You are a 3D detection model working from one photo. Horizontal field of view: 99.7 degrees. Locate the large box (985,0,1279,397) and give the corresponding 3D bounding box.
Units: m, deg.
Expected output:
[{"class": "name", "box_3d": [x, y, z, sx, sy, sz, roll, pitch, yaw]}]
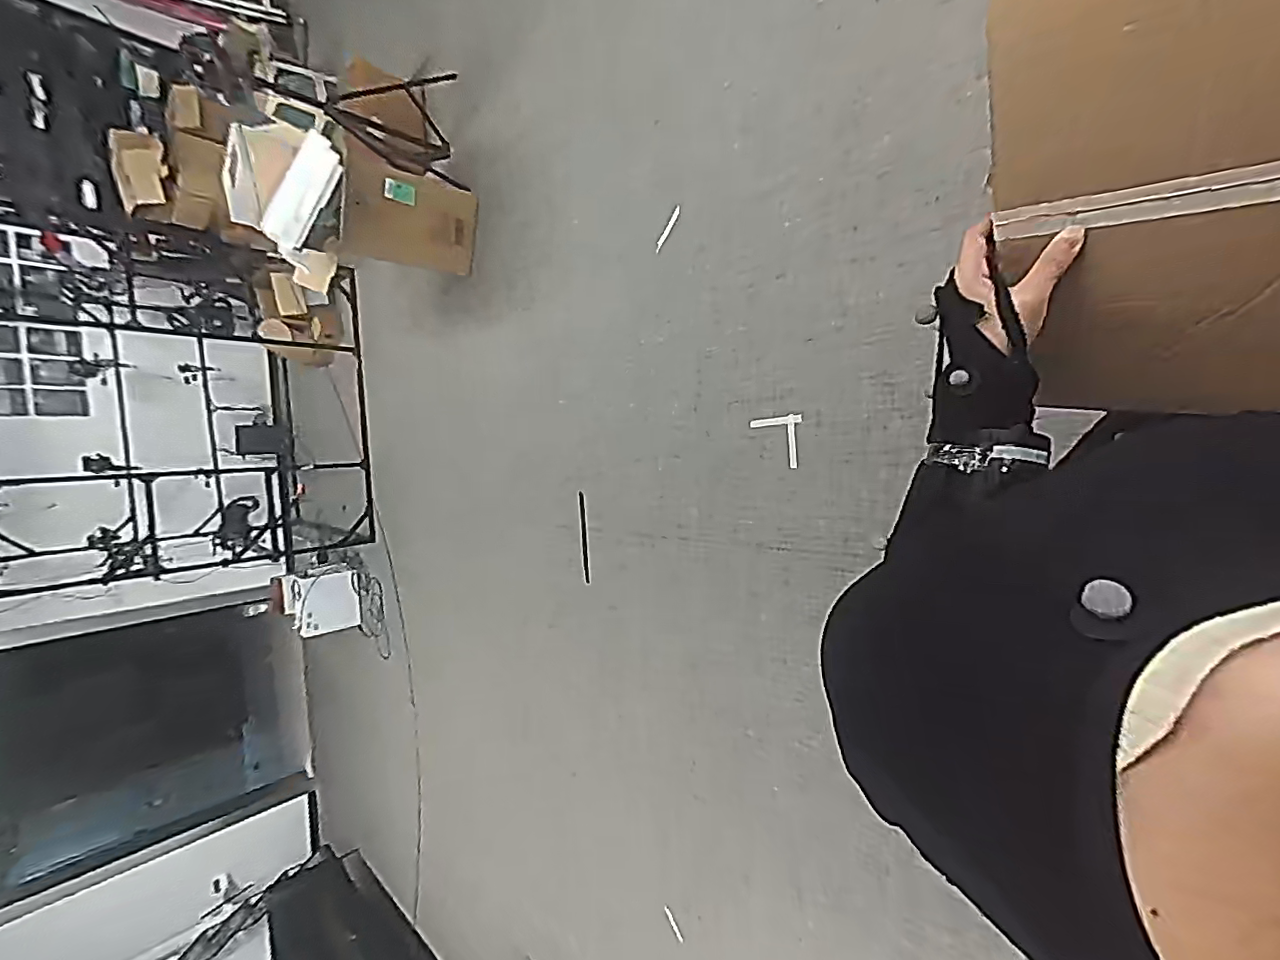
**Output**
[{"class": "large box", "box_3d": [0.495, -0.258, 0.325, 0.408, 0.320, 0.320, 13, 138, 49]}]
